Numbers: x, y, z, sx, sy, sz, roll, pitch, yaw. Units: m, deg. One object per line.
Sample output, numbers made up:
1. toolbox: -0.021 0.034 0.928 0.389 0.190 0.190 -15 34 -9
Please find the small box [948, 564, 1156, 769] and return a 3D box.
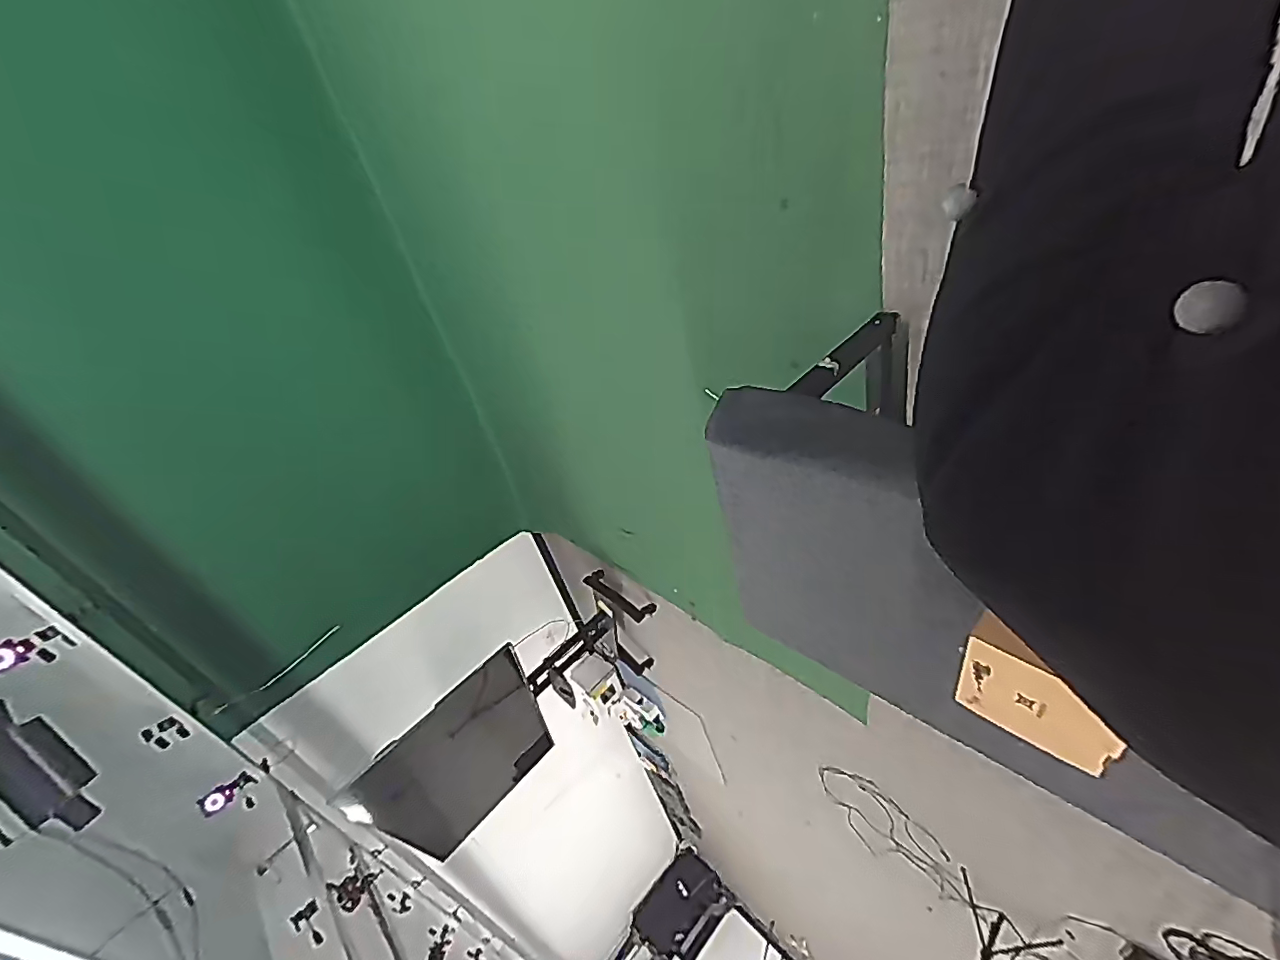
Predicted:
1. small box: 0.563 0.246 0.749 0.179 0.176 0.168 25 143 41
